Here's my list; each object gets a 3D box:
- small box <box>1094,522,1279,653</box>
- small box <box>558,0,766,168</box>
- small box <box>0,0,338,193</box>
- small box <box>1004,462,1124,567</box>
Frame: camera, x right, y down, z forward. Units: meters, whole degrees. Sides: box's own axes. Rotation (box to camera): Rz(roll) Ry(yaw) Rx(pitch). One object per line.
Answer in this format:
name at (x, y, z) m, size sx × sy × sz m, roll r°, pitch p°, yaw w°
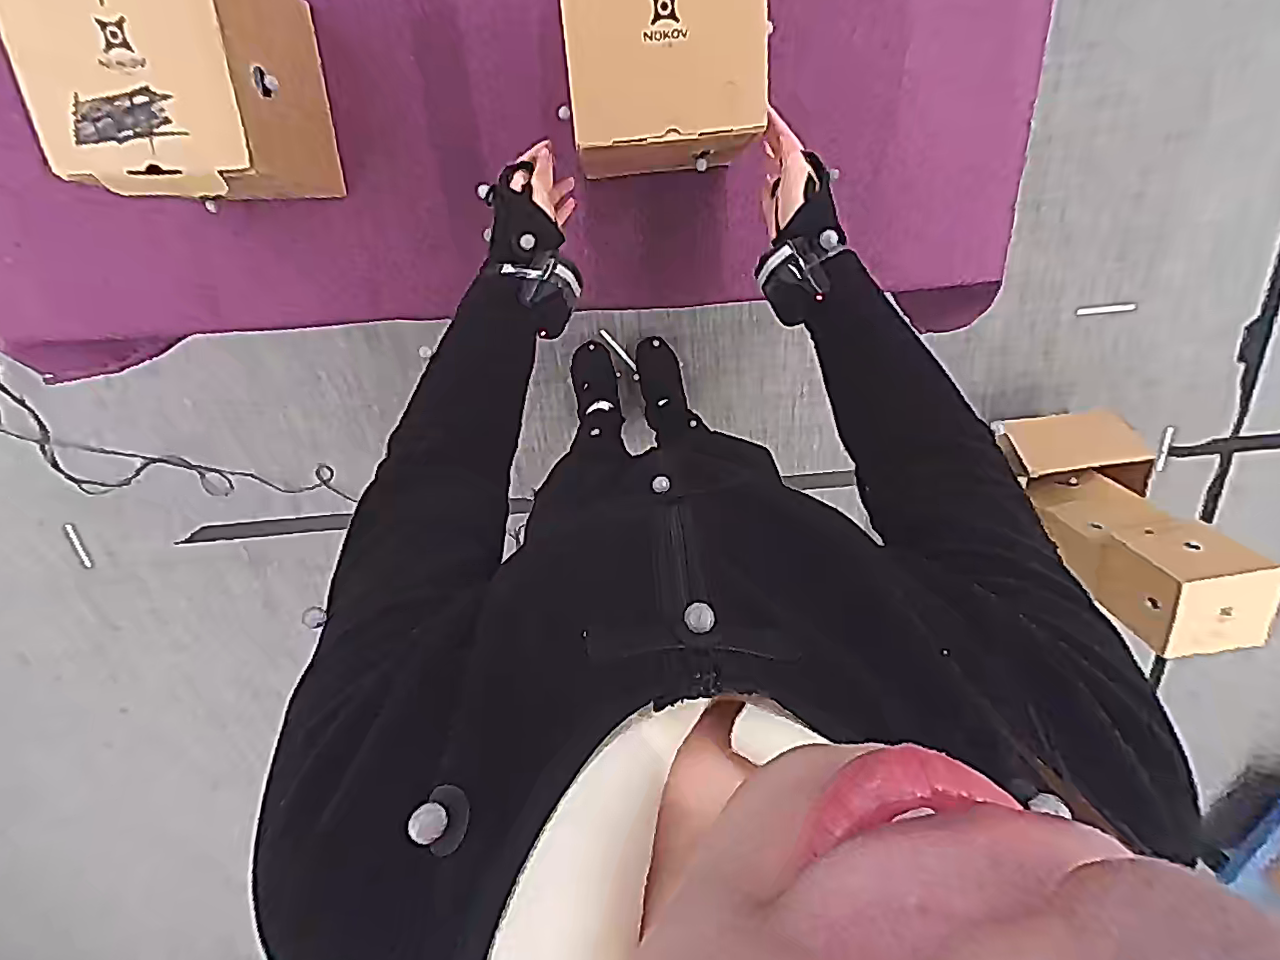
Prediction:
small box at (1.009, 0.192, 1.020) m, size 0.168 × 0.176 × 0.179 m, roll -10°, pitch 115°, yaw 6°
small box at (0.016, -0.400, 0.501) m, size 0.168 × 0.176 × 0.179 m, roll -6°, pitch 112°, yaw -1°
small box at (-0.407, -0.367, 0.493) m, size 0.168 × 0.176 × 0.179 m, roll -2°, pitch 111°, yaw -2°
small box at (1.034, 0.076, 1.328) m, size 0.168 × 0.176 × 0.179 m, roll -24°, pitch 114°, yaw 11°
